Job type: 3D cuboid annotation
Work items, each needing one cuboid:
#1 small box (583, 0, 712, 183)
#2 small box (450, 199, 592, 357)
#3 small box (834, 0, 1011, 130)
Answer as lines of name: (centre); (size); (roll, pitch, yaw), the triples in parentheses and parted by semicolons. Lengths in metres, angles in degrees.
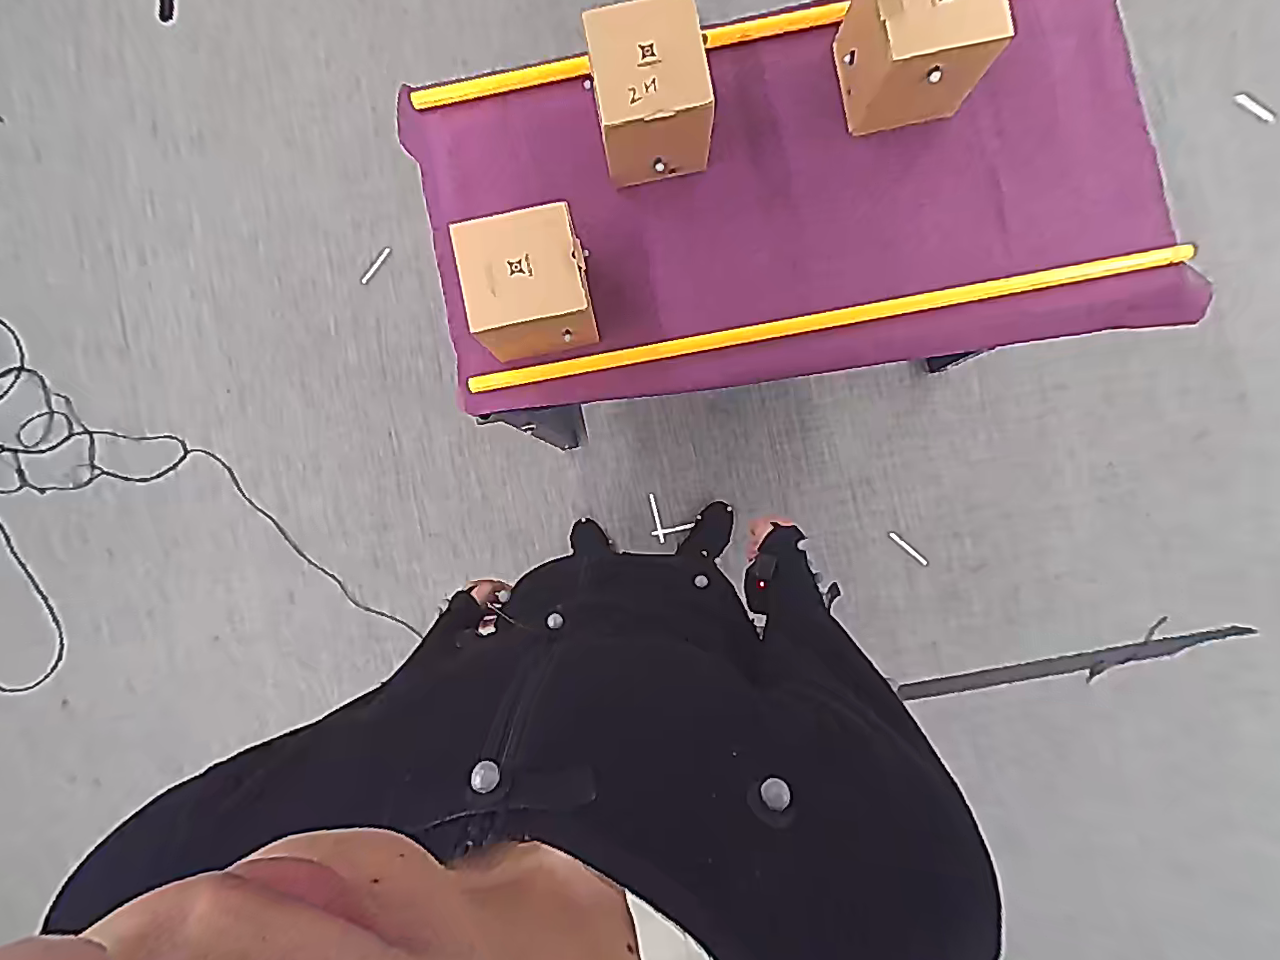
small box: (0.012, -0.612, 0.858); (0.168, 0.176, 0.179); (-11, 90, 2)
small box: (-0.175, -0.307, 0.854); (0.179, 0.176, 0.168); (-12, 87, 0)
small box: (0.428, -0.691, 0.844); (0.179, 0.176, 0.168); (-11, 89, 3)
